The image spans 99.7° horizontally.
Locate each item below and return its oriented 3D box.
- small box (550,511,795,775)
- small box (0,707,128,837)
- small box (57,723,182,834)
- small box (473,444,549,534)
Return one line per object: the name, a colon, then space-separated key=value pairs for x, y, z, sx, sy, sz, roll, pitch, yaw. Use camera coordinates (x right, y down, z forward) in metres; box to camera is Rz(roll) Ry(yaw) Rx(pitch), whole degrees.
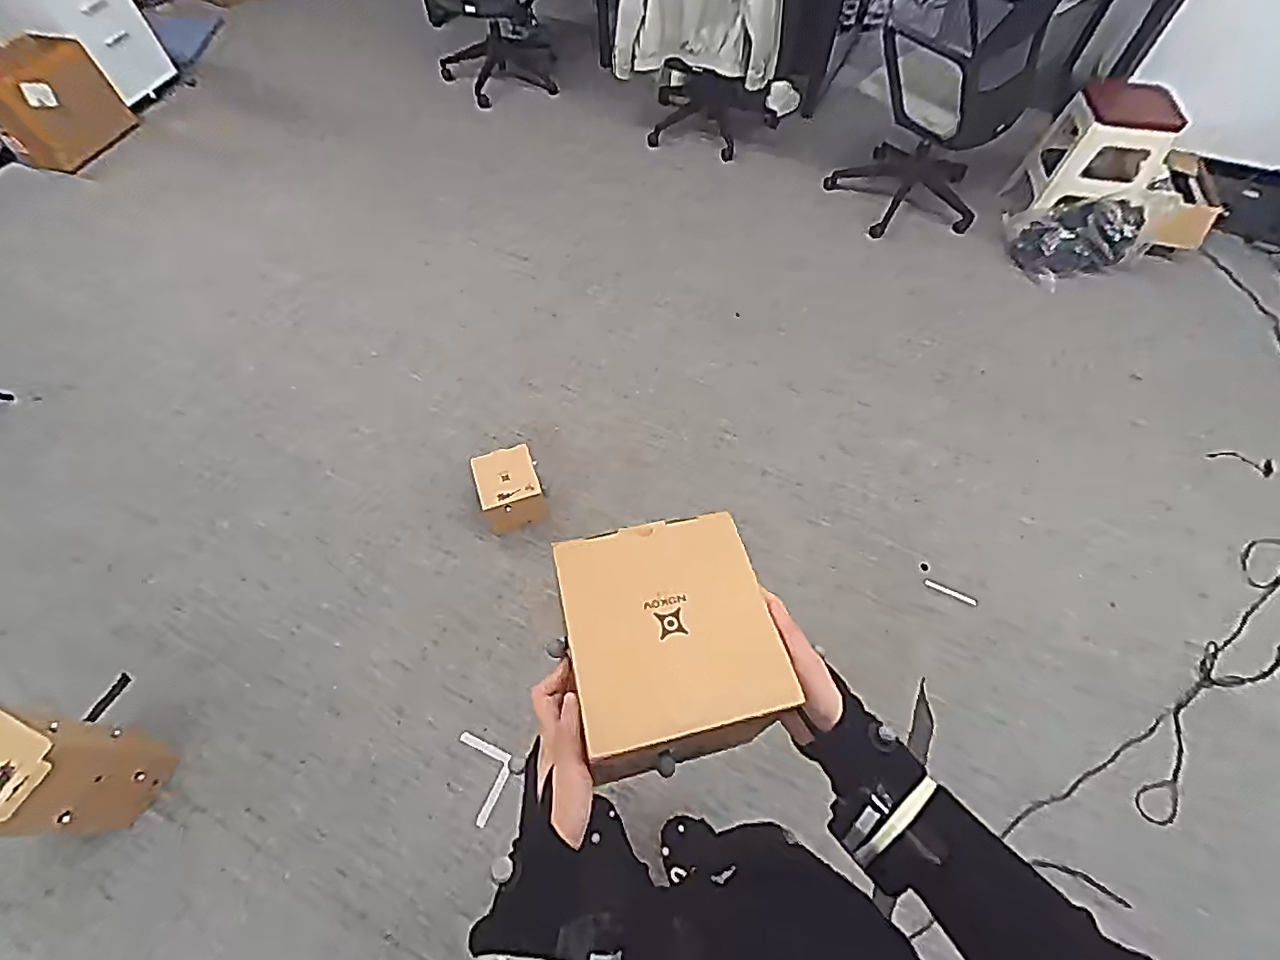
small box: x=0.016 y=0.157 z=0.500 sx=0.168 sy=0.176 sz=0.179 roll=-10 pitch=55 yaw=-11
small box: x=-1.196 y=0.573 z=1.069 sx=0.179 sy=0.176 sz=0.168 roll=19 pitch=61 yaw=11
small box: x=-1.199 y=0.660 z=1.209 sx=0.179 sy=0.176 sz=0.168 roll=18 pitch=61 yaw=11
small box: x=-0.372 y=0.029 z=1.575 sx=0.168 sy=0.176 sz=0.179 roll=-17 pitch=61 yaw=-11
